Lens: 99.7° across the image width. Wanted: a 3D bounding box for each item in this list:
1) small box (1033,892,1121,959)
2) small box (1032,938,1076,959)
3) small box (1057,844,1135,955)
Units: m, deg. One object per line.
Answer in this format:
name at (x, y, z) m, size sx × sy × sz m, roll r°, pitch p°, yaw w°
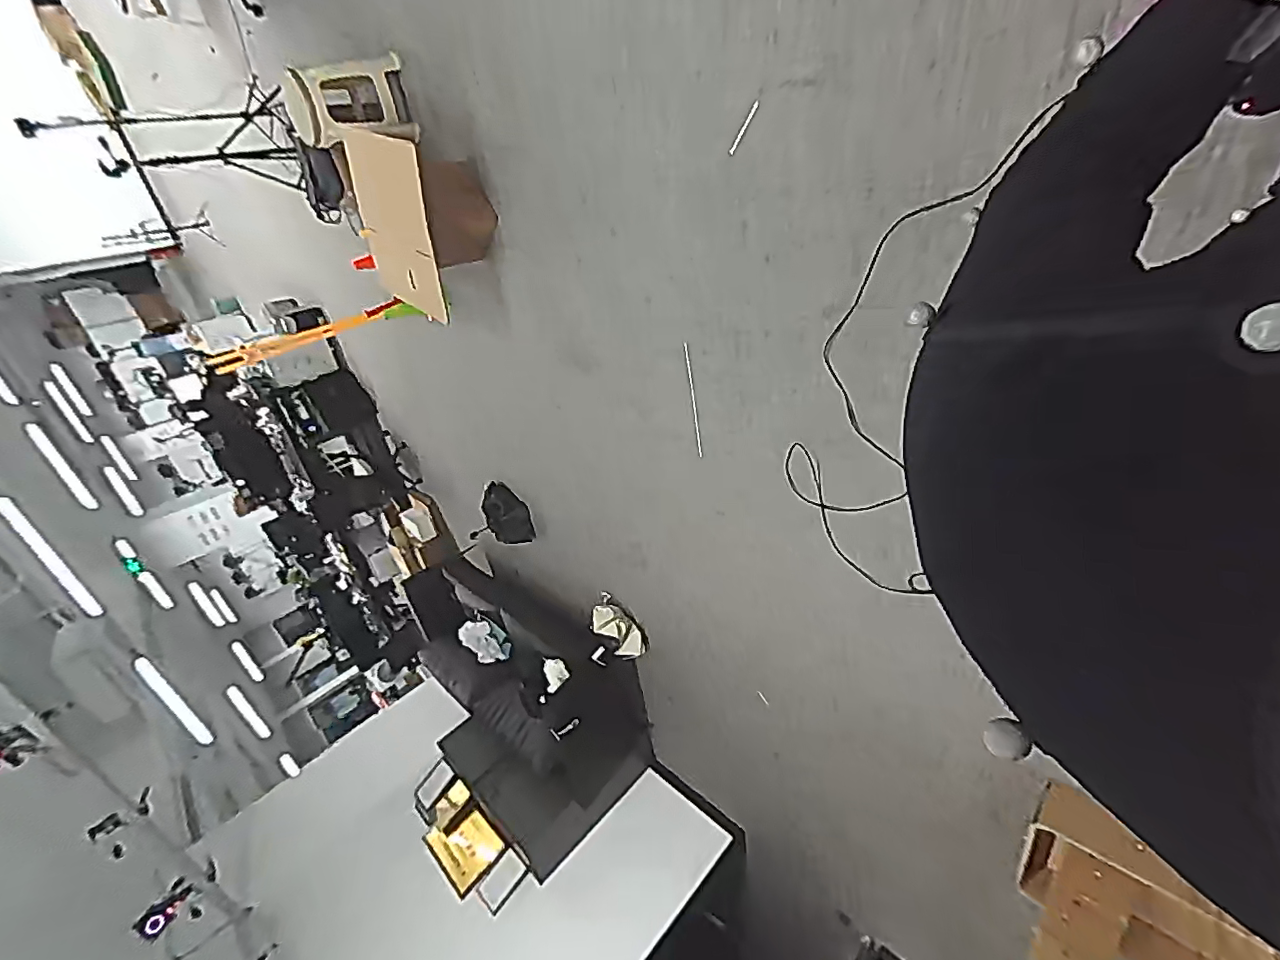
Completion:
small box at (1.248, 1.345, 1.549) m, size 0.168 × 0.176 × 0.179 m, roll 16°, pitch 128°, yaw 42°
small box at (1.147, 1.403, 1.459) m, size 0.168 × 0.176 × 0.179 m, roll 18°, pitch 129°, yaw 42°
small box at (1.381, 1.267, 1.645) m, size 0.168 × 0.176 × 0.179 m, roll 10°, pitch 124°, yaw 44°
